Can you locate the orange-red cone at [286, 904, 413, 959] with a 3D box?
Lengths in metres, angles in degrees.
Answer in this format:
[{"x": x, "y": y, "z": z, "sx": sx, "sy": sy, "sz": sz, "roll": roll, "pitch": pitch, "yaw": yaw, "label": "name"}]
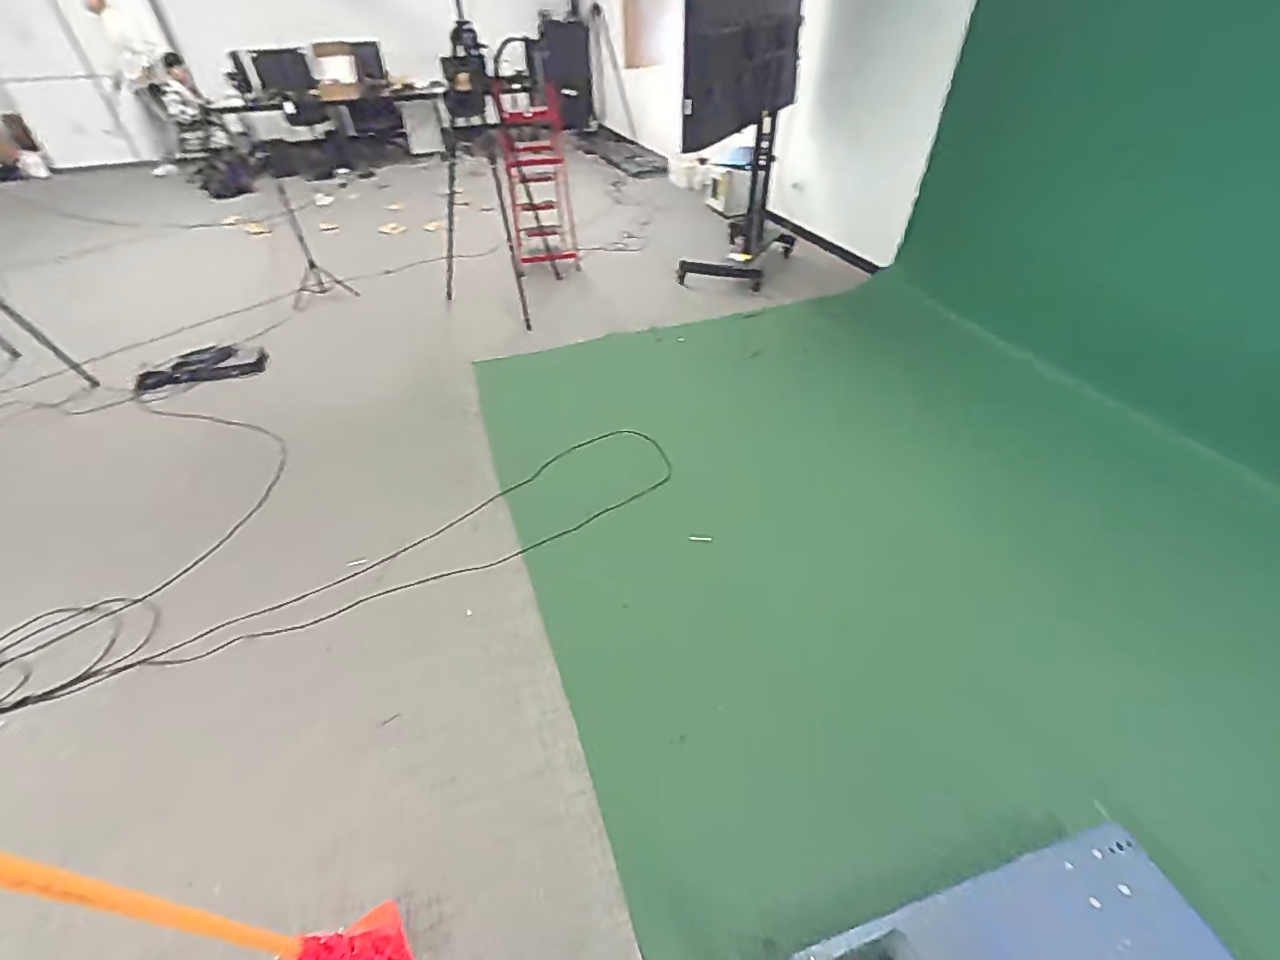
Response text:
[{"x": -0.625, "y": 0.981, "z": 1.102, "sx": 0.198, "sy": 0.360, "sz": 0.199, "roll": -26, "pitch": 47, "yaw": -26, "label": "orange-red cone"}]
